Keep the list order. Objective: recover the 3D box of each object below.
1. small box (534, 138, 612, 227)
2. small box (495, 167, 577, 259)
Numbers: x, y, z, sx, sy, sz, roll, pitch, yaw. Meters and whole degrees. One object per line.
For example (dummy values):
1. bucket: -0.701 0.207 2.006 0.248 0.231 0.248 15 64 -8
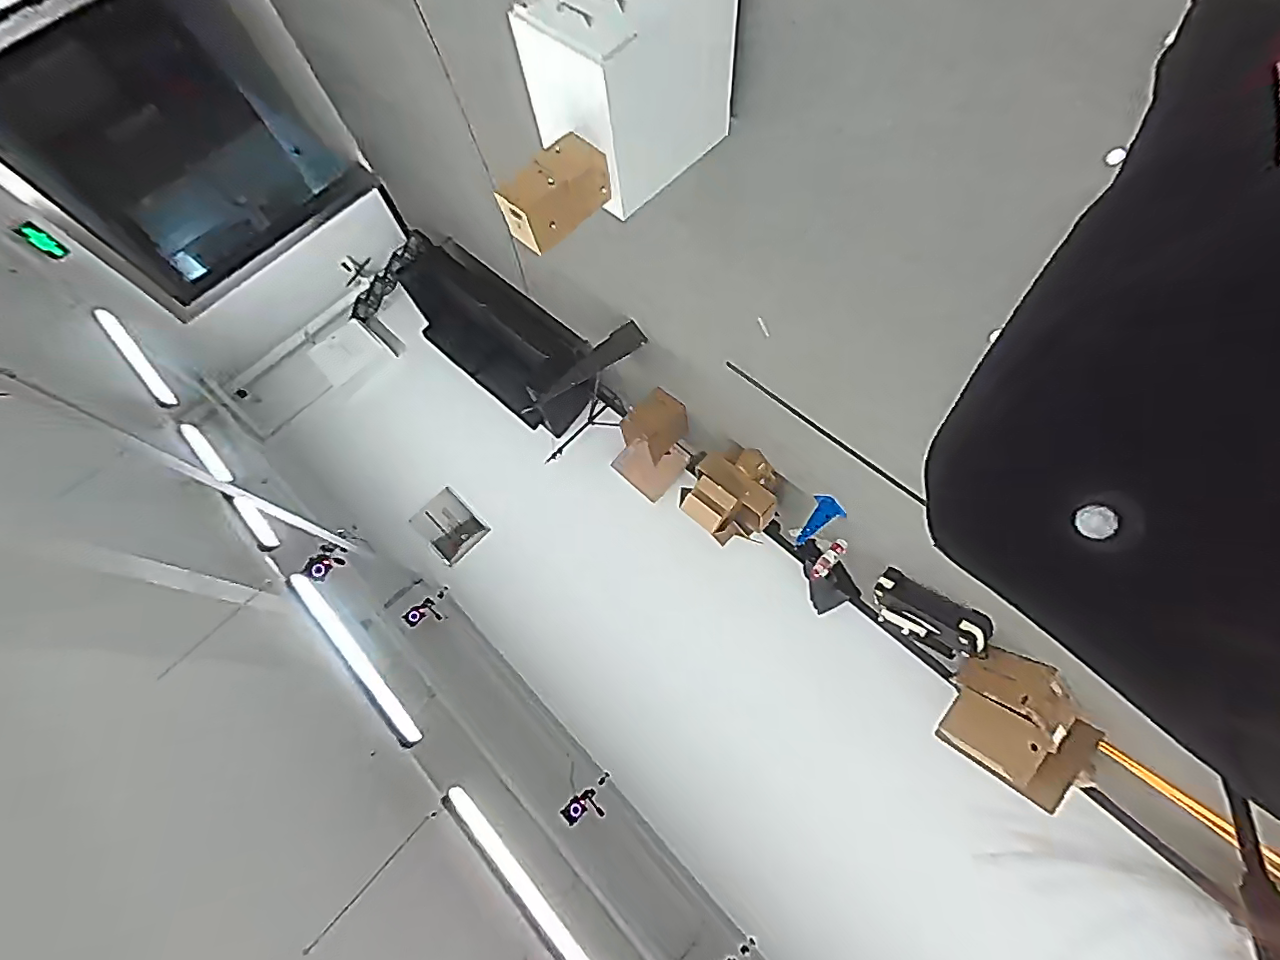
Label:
1. small box: -0.214 -0.979 1.771 0.179 0.176 0.168 42 168 17
2. small box: -0.329 -0.865 1.743 0.168 0.176 0.179 42 169 22
